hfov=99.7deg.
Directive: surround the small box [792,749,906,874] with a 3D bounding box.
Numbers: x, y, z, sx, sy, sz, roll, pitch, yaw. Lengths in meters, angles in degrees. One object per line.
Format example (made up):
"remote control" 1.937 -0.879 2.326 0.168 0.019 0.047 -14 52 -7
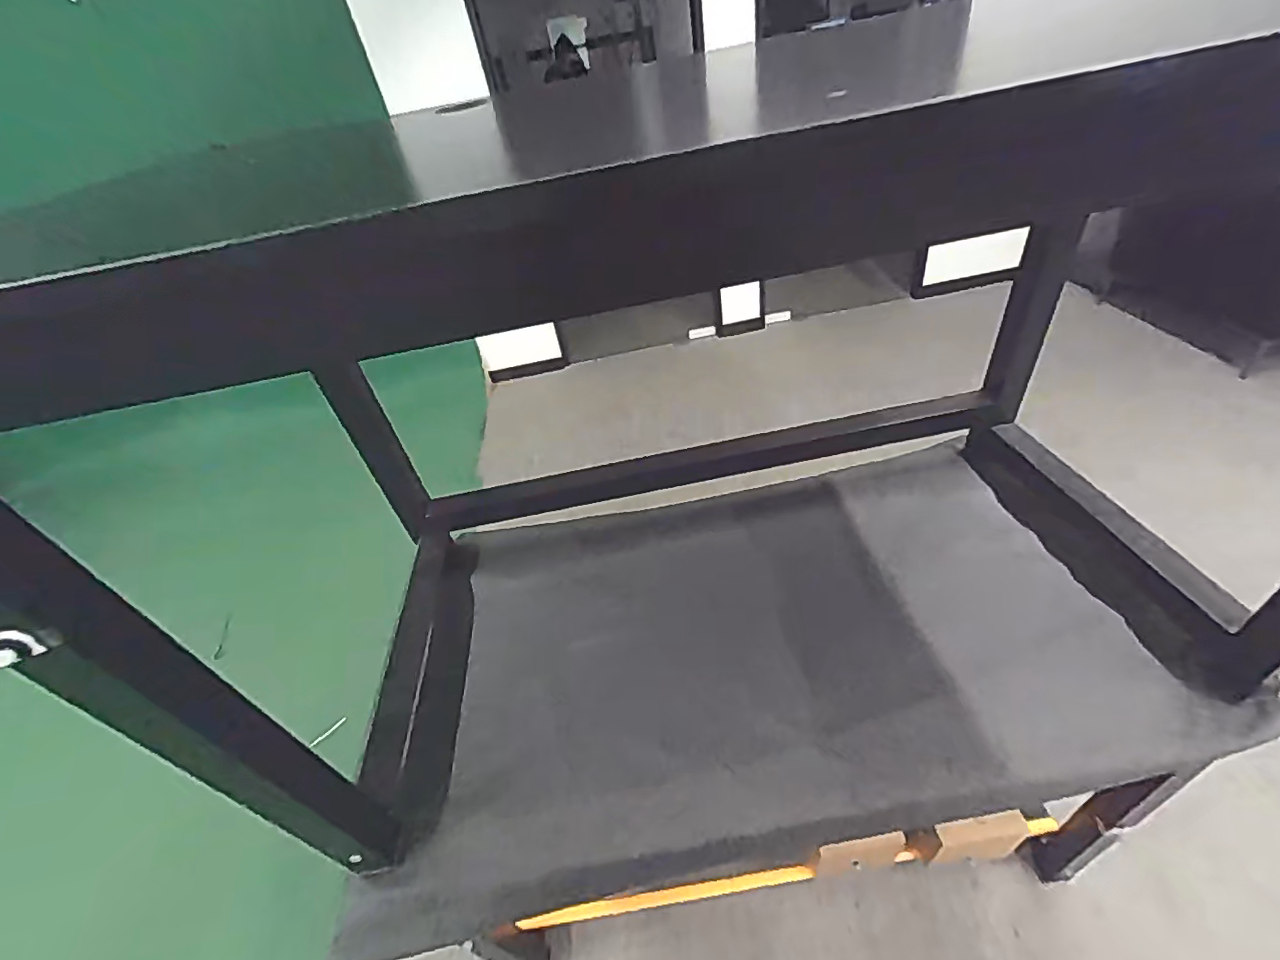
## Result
"small box" 0.425 0.696 1.128 0.168 0.176 0.179 -12 40 1
